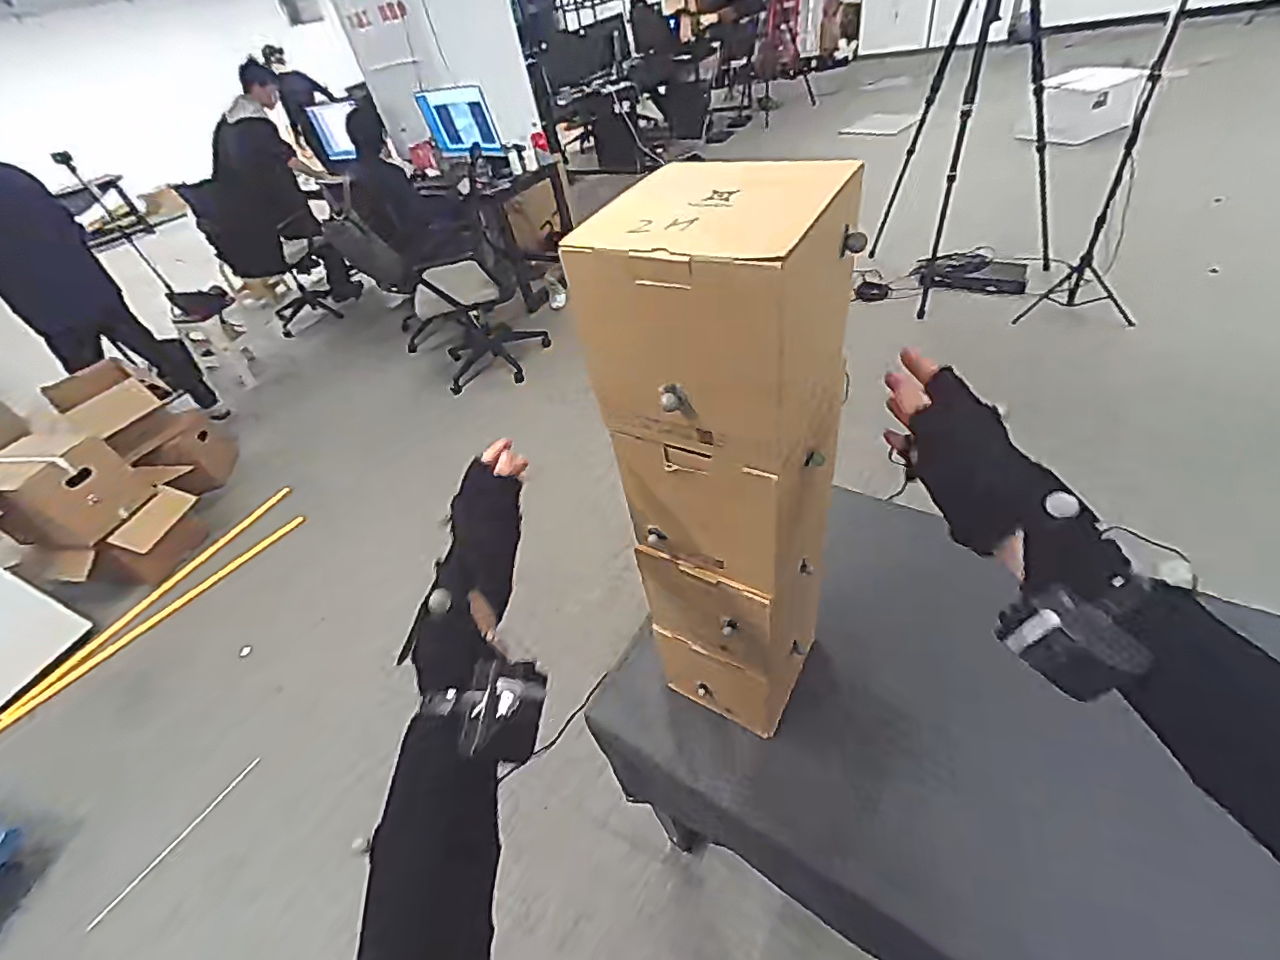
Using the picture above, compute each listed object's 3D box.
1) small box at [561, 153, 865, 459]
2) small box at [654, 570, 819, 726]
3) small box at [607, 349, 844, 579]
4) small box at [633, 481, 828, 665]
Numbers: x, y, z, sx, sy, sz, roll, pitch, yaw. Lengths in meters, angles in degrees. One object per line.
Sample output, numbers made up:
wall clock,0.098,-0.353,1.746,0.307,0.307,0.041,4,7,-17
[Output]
small box,0.066,-0.147,0.441,0.168,0.176,0.179,17,51,27
small box,0.140,0.209,0.772,0.168,0.176,0.179,18,52,29
small box,0.093,-0.030,0.553,0.168,0.176,0.179,19,51,28
small box,0.117,0.092,0.662,0.168,0.176,0.179,19,52,29
